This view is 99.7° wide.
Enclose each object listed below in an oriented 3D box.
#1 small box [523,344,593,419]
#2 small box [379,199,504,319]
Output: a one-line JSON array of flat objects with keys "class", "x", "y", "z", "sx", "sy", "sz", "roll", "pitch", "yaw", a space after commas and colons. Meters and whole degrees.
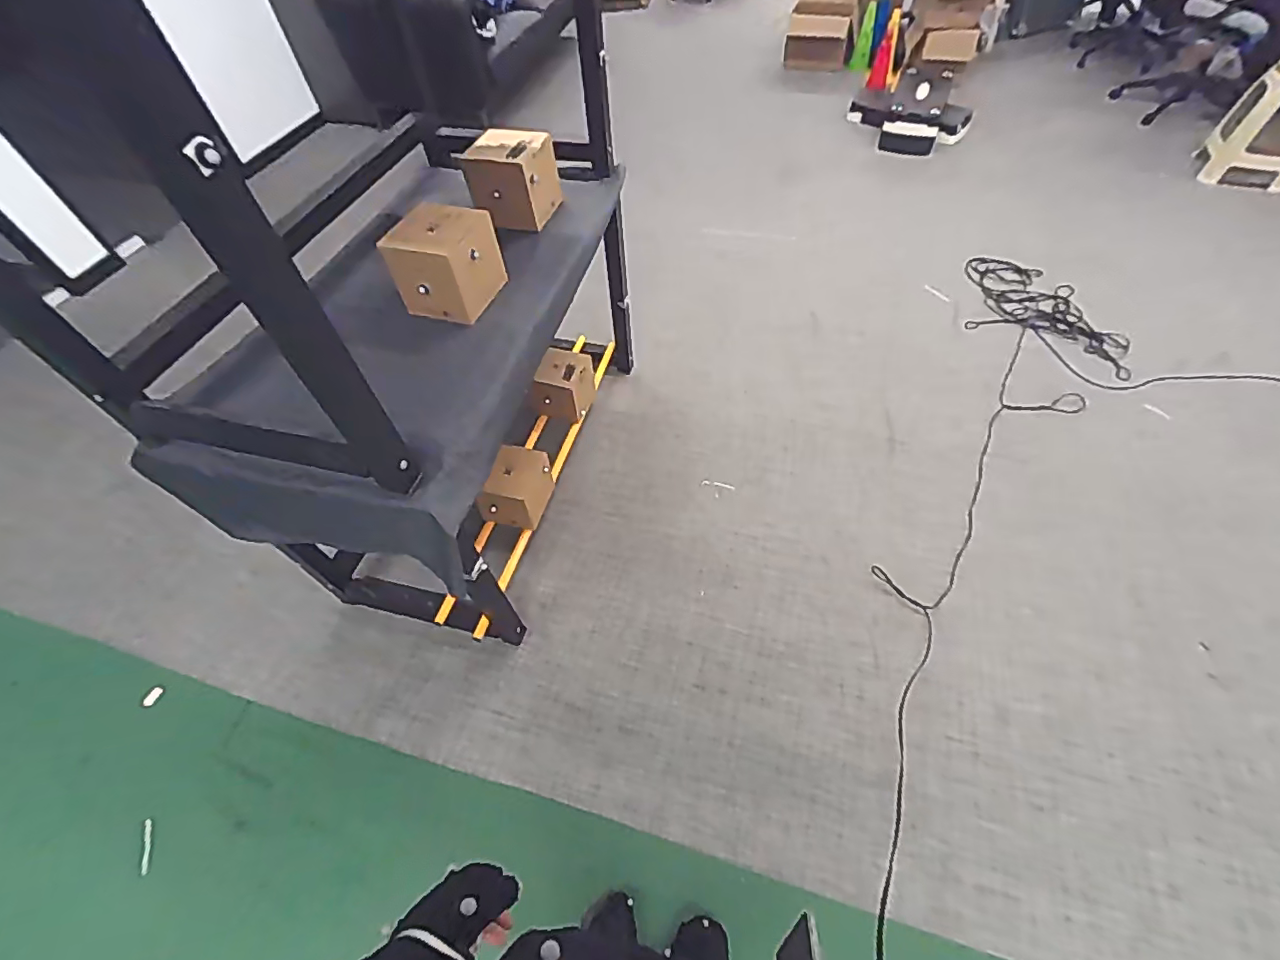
[{"class": "small box", "x": -0.269, "y": -0.328, "z": 1.826, "sx": 0.179, "sy": 0.176, "sz": 0.168, "roll": 14, "pitch": 56, "yaw": 13}, {"class": "small box", "x": -0.416, "y": -0.475, "z": 1.171, "sx": 0.168, "sy": 0.176, "sz": 0.179, "roll": 14, "pitch": 56, "yaw": 13}]
